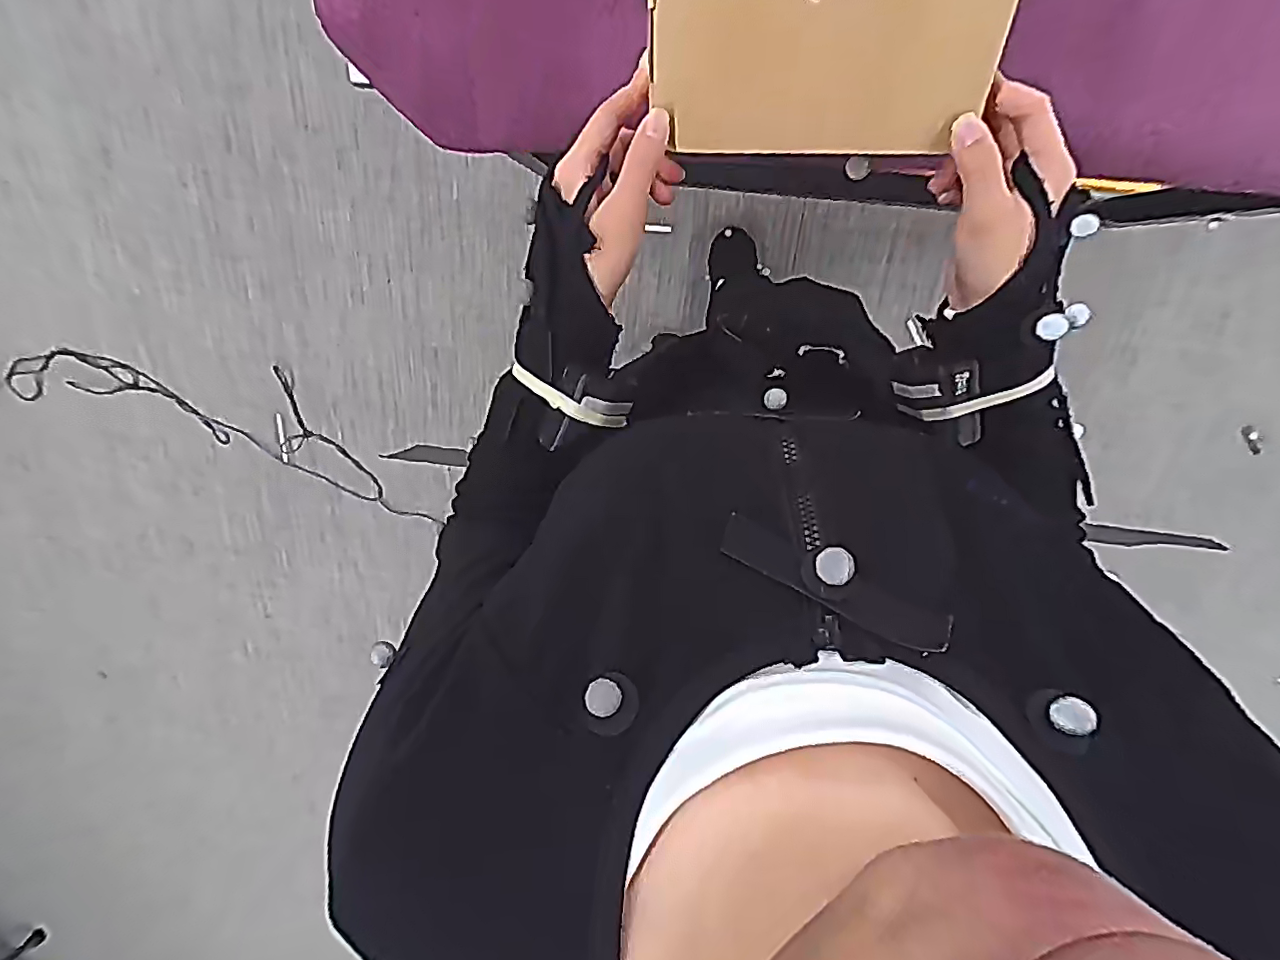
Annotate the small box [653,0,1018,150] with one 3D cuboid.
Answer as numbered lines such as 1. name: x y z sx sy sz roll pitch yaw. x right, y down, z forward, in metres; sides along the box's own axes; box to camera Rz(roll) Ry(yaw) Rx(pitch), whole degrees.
1. small box: 0.099 -0.297 0.311 0.179 0.176 0.168 3 127 2
